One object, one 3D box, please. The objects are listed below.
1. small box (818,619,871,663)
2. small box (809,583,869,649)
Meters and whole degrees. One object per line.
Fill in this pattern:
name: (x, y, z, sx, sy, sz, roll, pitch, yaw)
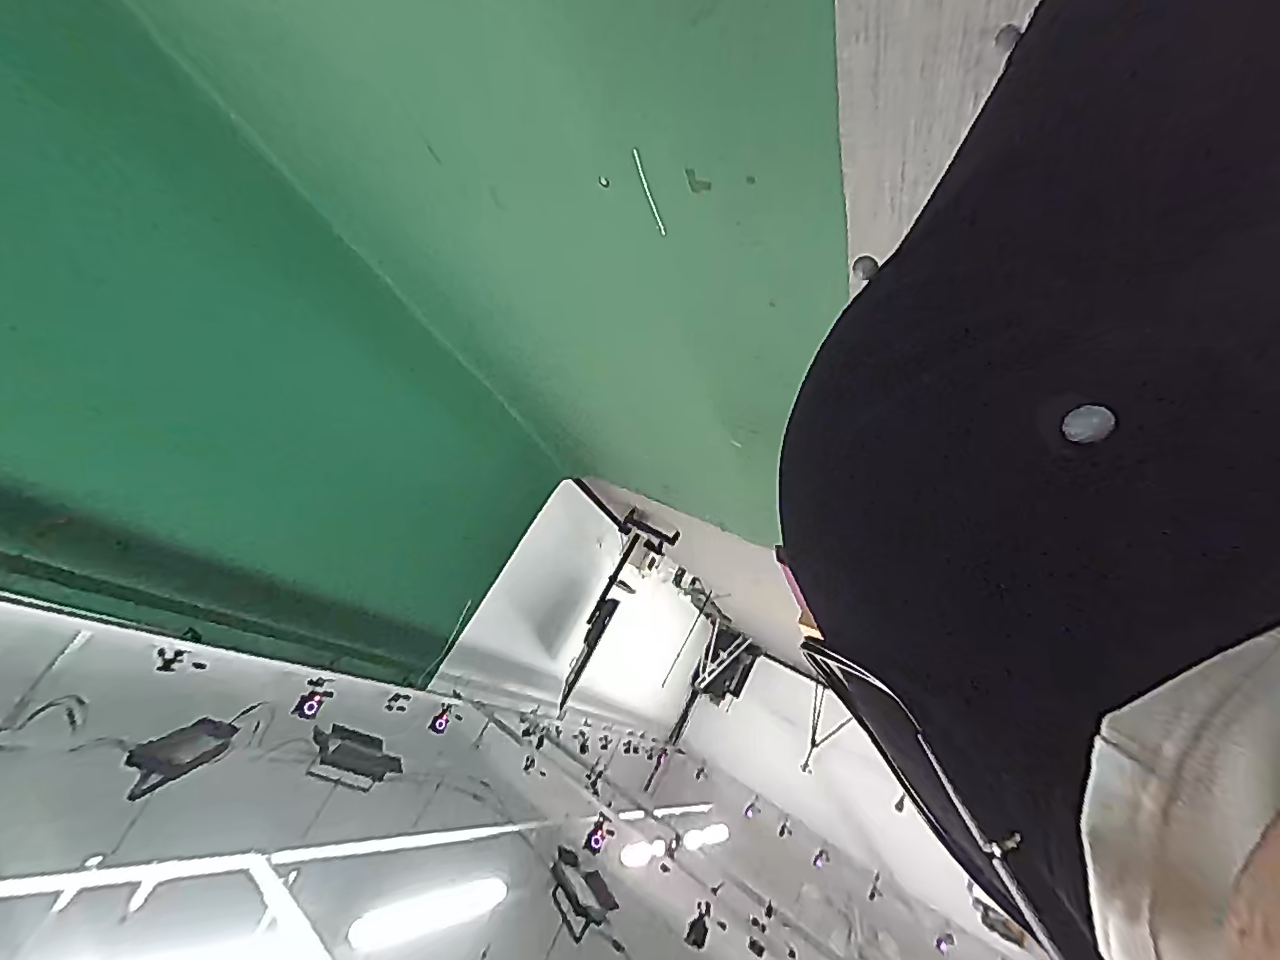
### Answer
small box: (0.887, 0.664, 2.335, 0.168, 0.176, 0.179, 21, 162, 31)
small box: (0.772, 0.523, 2.085, 0.168, 0.176, 0.179, 19, 161, 33)
